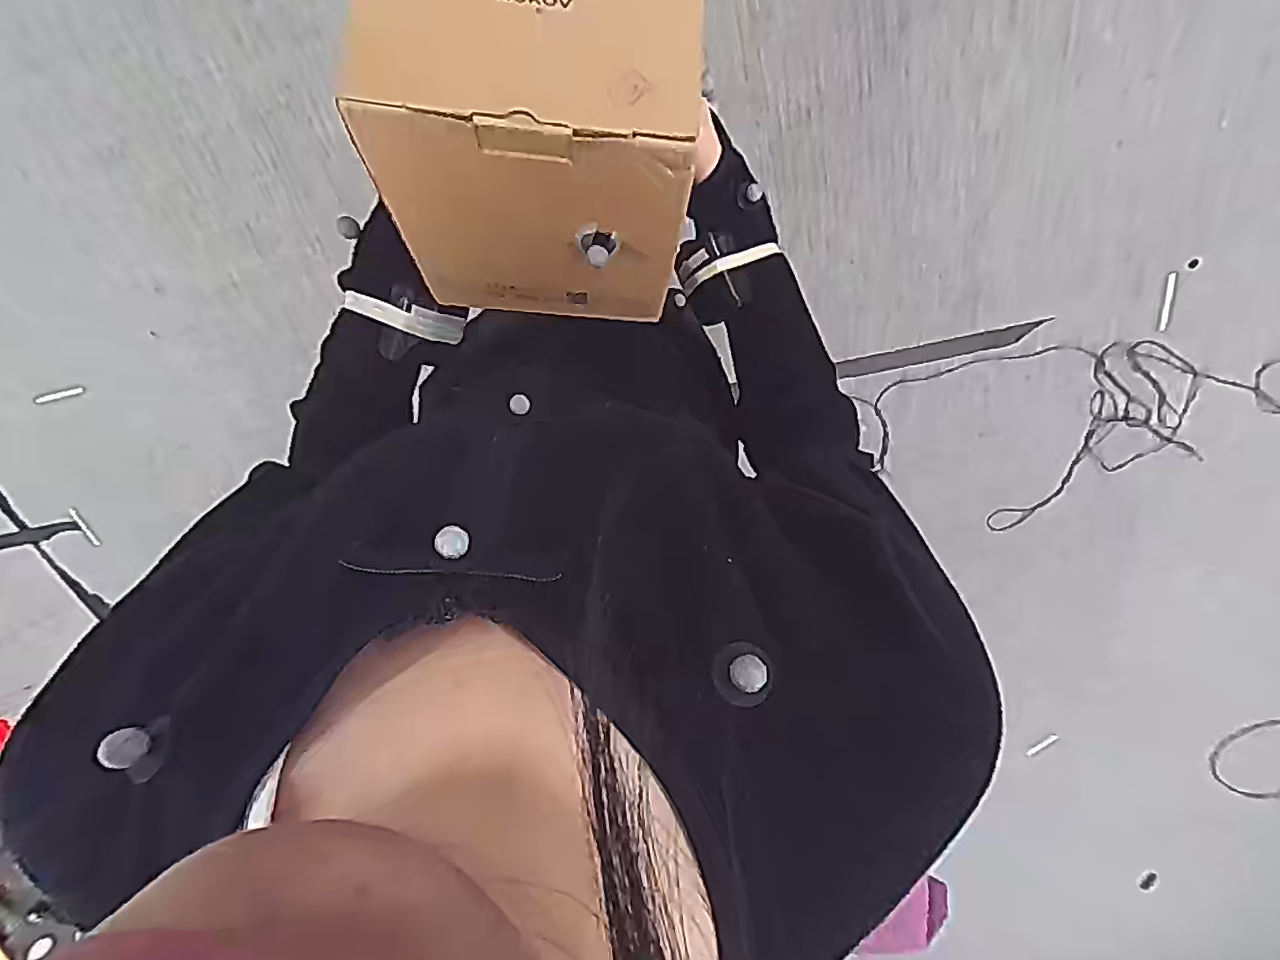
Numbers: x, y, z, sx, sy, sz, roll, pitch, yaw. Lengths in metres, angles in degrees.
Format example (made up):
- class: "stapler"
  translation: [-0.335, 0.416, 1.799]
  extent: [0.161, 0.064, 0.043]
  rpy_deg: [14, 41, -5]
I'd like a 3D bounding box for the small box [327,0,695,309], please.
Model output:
- class: "small box"
  translation: [-0.060, -0.228, 0.337]
  extent: [0.168, 0.176, 0.179]
  rpy_deg: [4, 76, -5]
